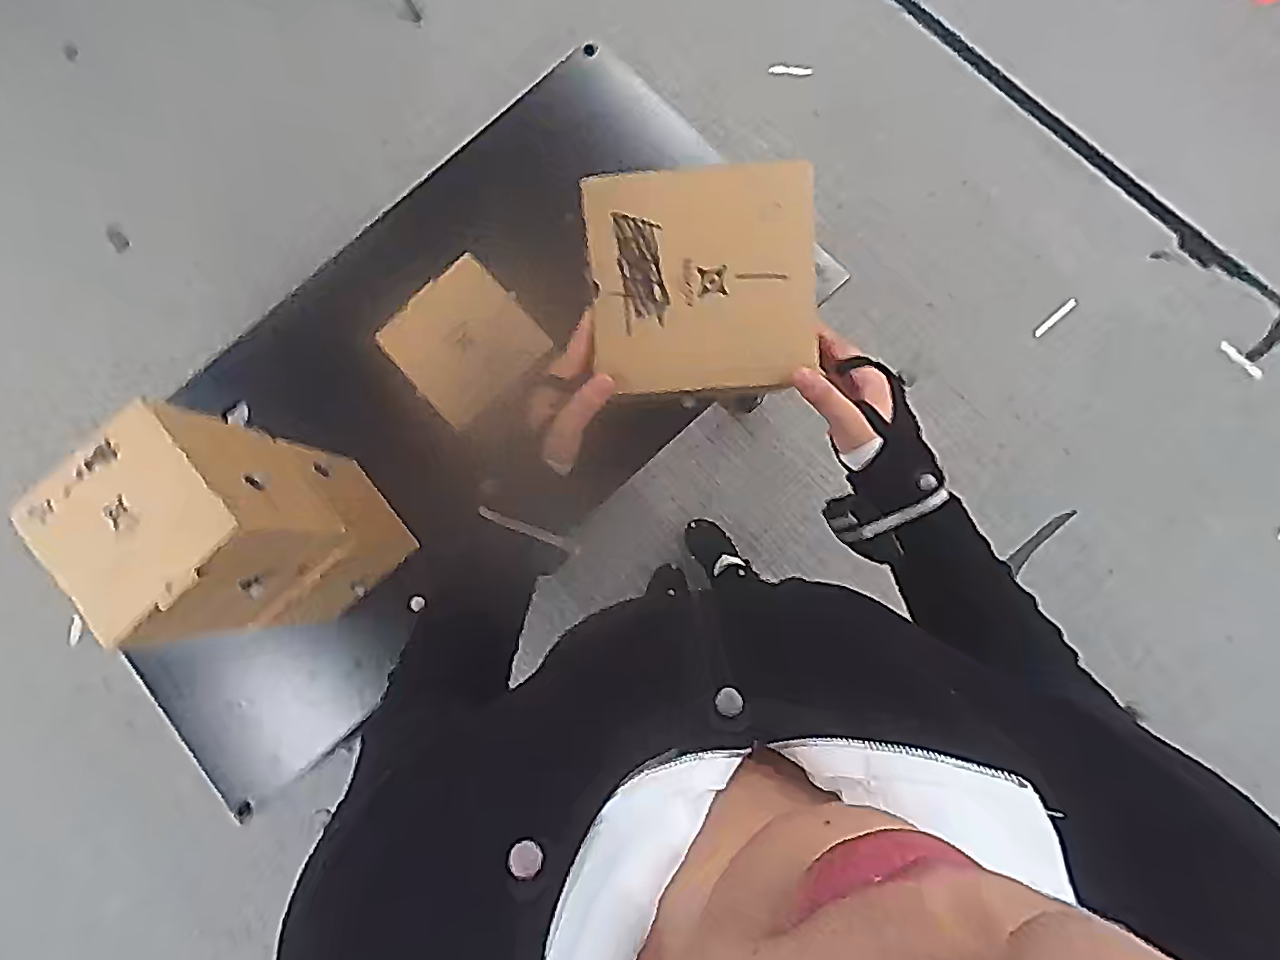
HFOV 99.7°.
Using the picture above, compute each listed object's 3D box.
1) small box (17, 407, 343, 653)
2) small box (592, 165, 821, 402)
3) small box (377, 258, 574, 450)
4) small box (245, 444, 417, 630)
[{"bbox_3d":[-0.472,0.052,0.586,0.168,0.176,0.179,-44,82,-3],"label":"small box"},{"bbox_3d":[0.057,-0.160,0.497,0.179,0.176,0.168,-2,96,4],"label":"small box"},{"bbox_3d":[-0.219,-0.164,0.766,0.168,0.176,0.179,-44,82,-1],"label":"small box"},{"bbox_3d":[-0.452,0.080,0.746,0.168,0.176,0.179,-41,81,-2],"label":"small box"}]
